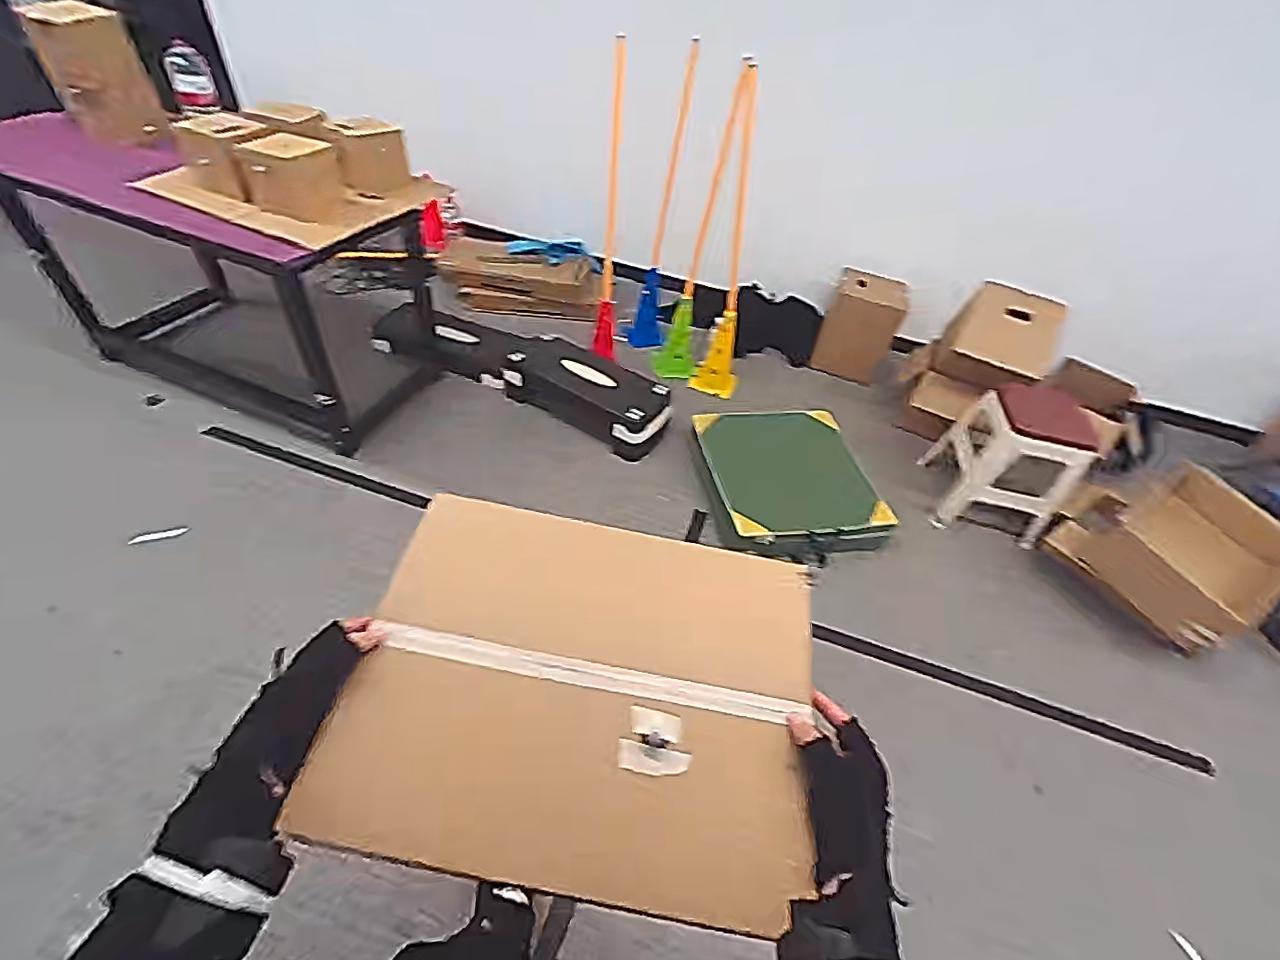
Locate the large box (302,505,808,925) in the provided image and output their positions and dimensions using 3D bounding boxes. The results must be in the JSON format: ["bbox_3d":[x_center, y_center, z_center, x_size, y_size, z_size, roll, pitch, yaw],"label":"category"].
[{"bbox_3d":[-0.062,0.271,0.618,0.408,0.320,0.320,12,53,0],"label":"large box"}]
